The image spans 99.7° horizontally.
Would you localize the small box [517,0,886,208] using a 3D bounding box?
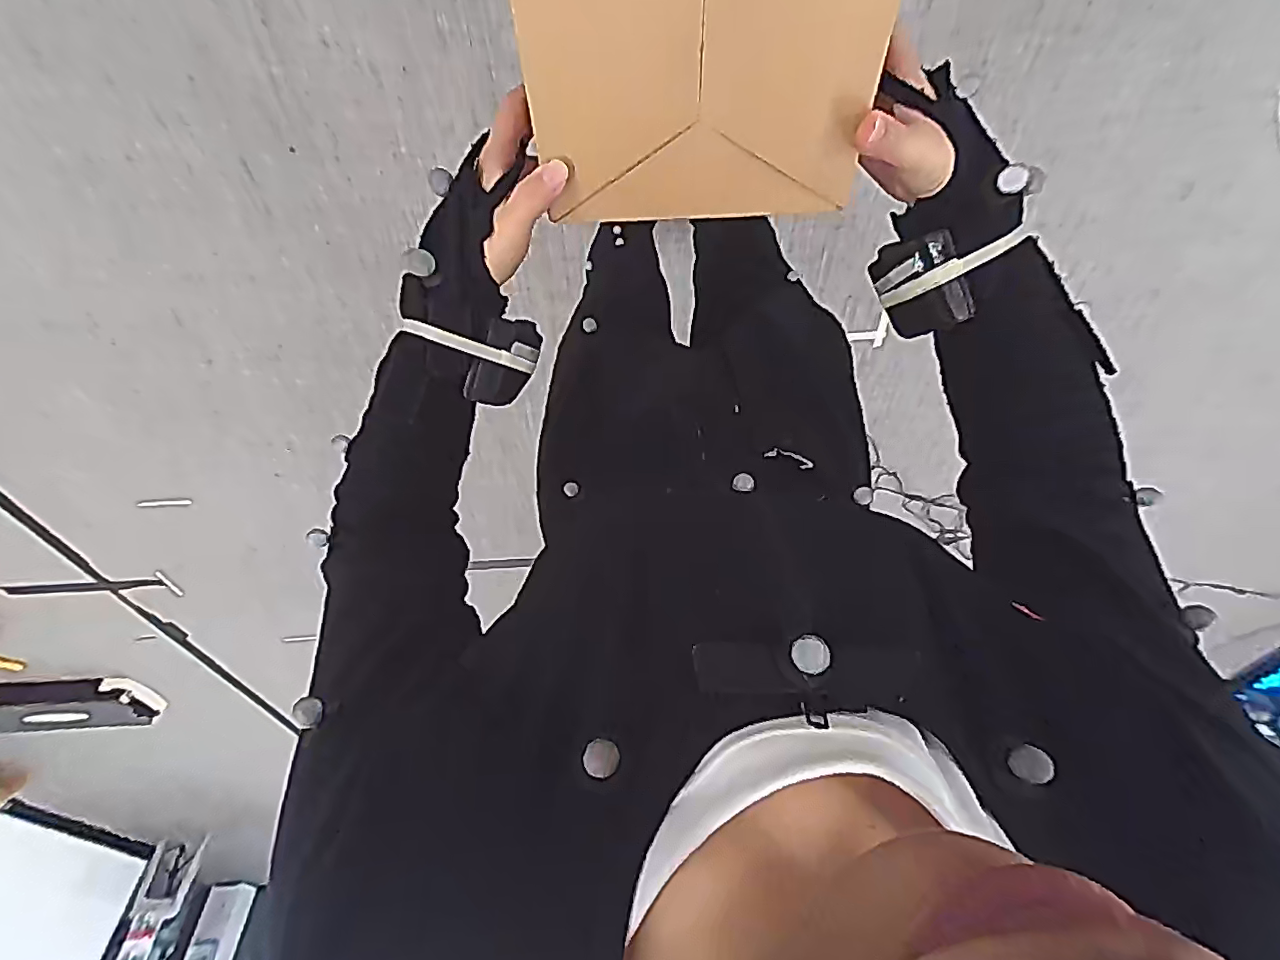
[{"bbox_3d":[0.032,-0.274,0.298,0.179,0.176,0.168,-2,144,1],"label":"small box"}]
